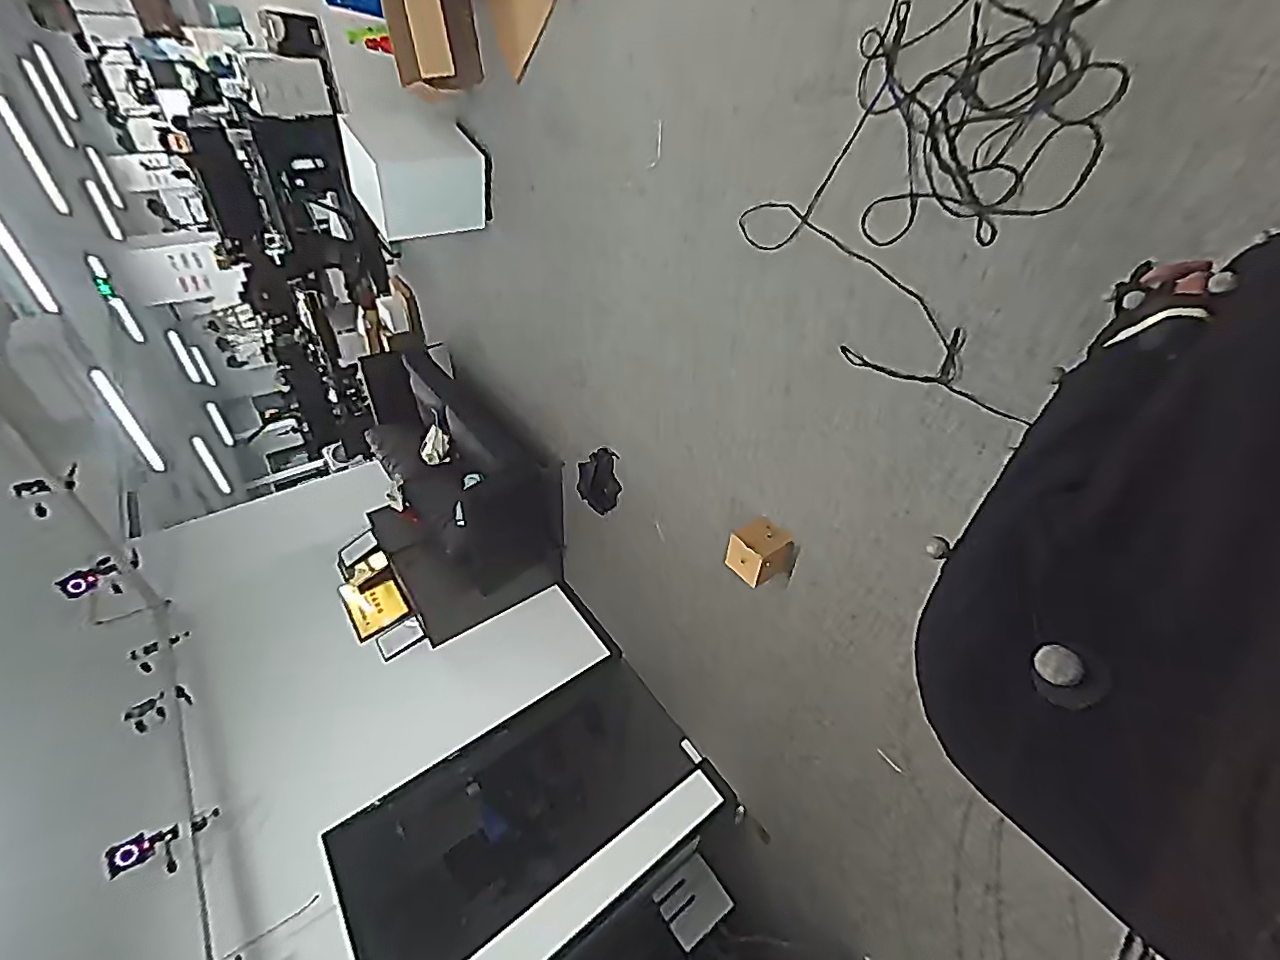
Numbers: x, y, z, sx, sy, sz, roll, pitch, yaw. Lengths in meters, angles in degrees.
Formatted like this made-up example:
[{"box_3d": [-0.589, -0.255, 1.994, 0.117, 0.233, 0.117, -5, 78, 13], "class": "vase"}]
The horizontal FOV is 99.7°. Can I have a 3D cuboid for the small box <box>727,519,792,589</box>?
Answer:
[{"box_3d": [0.467, 0.284, 2.107, 0.168, 0.176, 0.179, 42, 142, 37], "class": "small box"}]
